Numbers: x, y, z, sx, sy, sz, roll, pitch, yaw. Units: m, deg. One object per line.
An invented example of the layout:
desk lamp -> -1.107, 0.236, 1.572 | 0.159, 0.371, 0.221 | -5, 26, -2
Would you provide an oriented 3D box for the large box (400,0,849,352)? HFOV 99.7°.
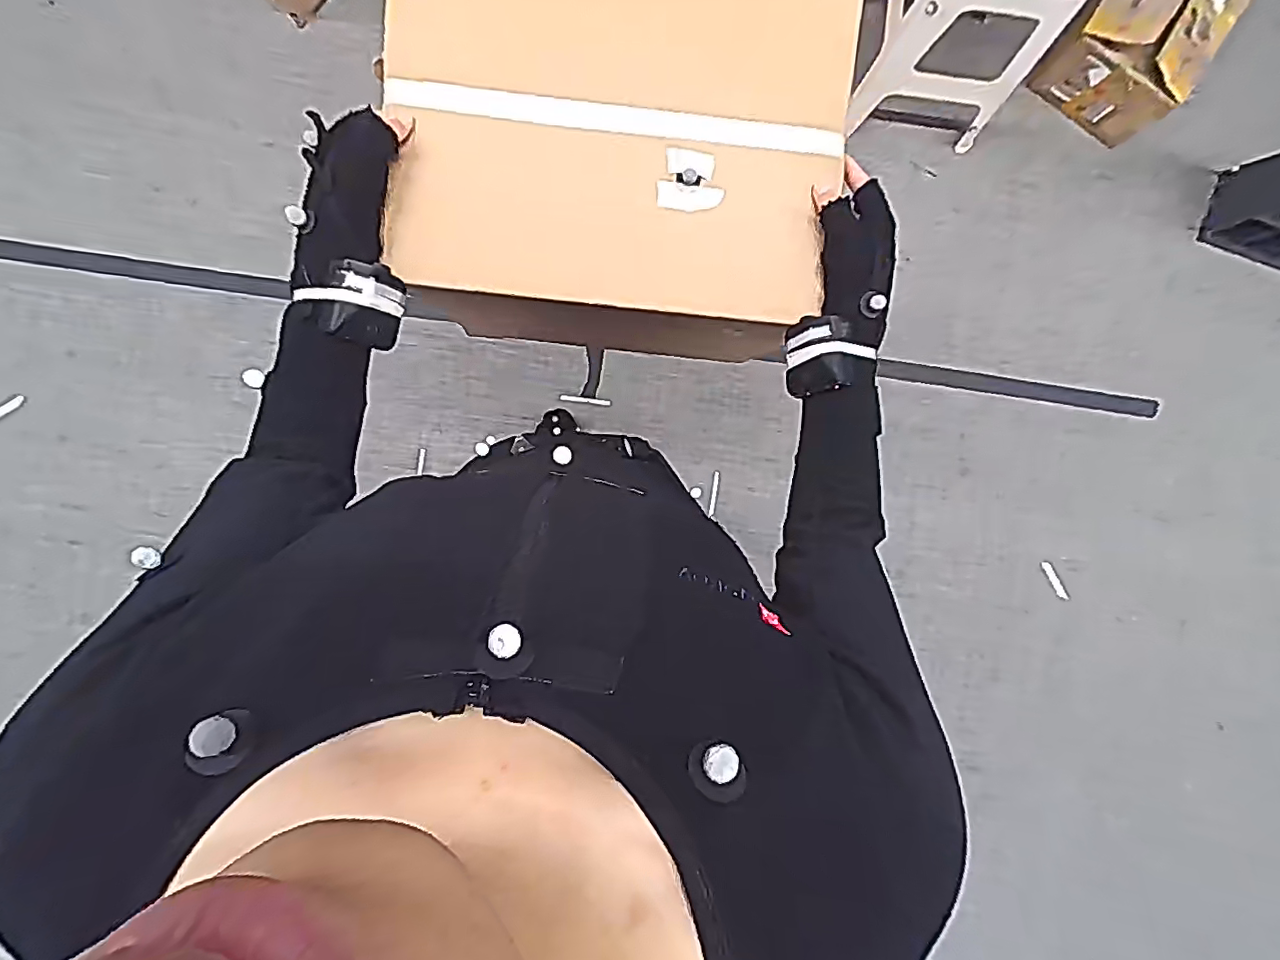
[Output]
large box -> -0.024, -0.341, 0.644 | 0.408, 0.320, 0.320 | 5, 97, -4
